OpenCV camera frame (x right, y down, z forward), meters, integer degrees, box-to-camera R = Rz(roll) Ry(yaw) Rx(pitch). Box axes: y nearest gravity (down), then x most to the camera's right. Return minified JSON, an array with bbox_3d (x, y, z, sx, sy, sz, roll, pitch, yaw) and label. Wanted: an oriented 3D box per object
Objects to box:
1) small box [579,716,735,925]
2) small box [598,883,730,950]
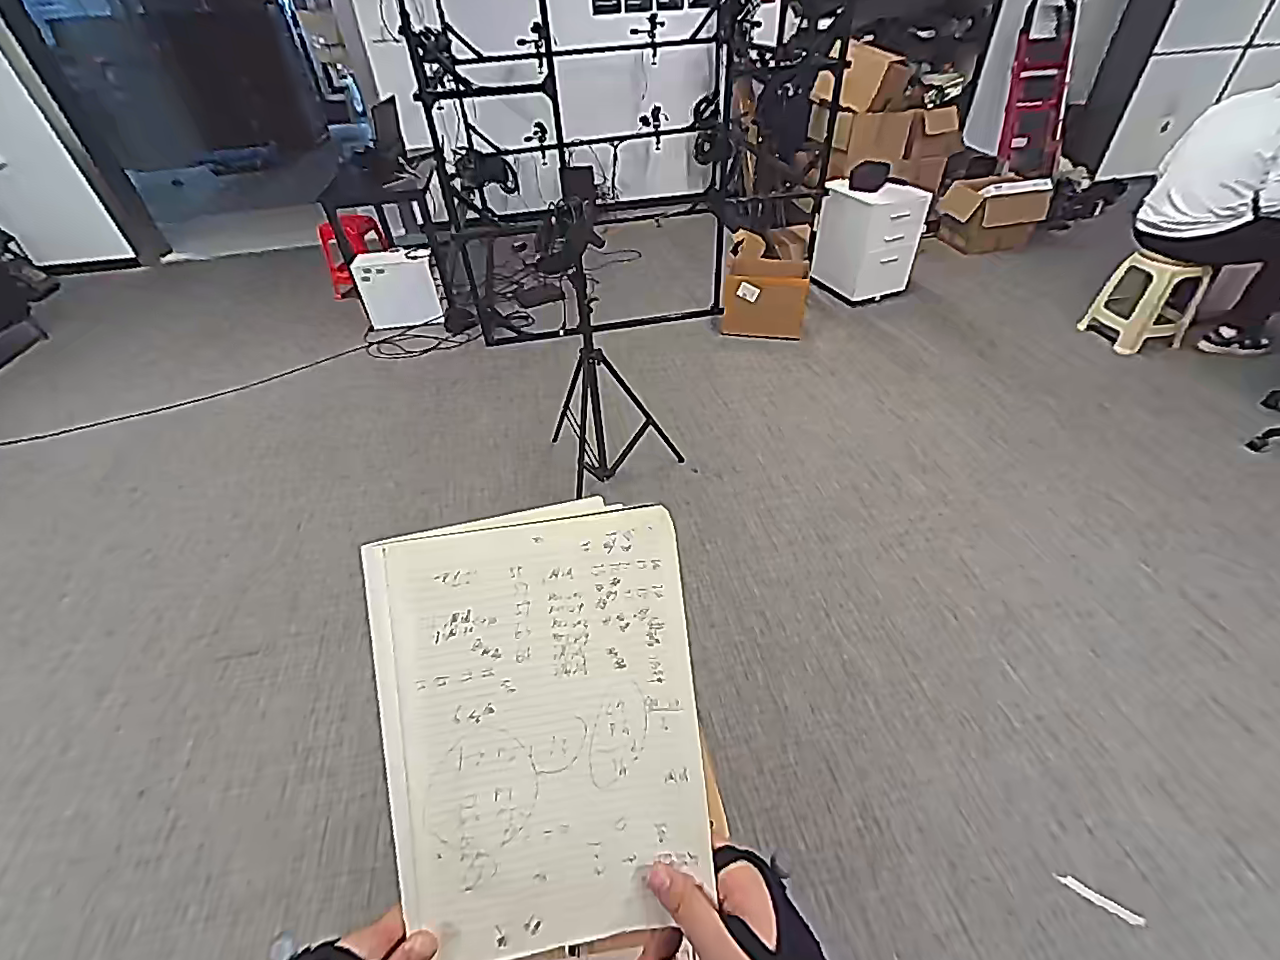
[{"bbox_3d":[0.013,0.443,0.708,0.168,0.176,0.179,-7,42,-8],"label":"small box"},{"bbox_3d":[0.019,0.570,0.812,0.179,0.176,0.168,-10,43,-9],"label":"small box"}]
